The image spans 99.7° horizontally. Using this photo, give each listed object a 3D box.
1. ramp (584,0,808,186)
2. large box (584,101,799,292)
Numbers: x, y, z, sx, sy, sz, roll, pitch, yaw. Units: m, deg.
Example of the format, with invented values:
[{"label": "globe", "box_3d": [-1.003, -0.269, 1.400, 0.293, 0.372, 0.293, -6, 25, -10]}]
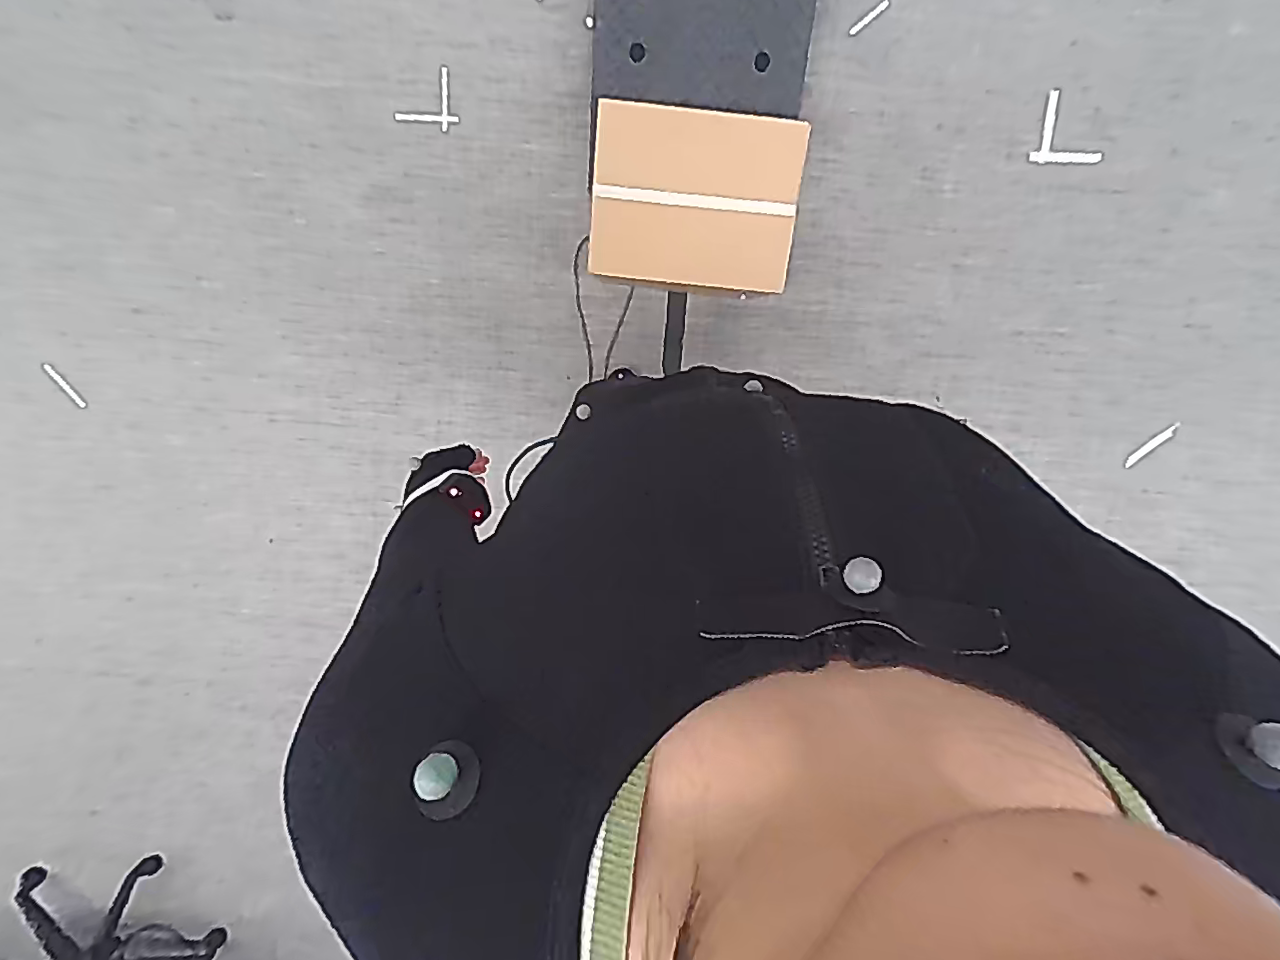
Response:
[{"label": "ramp", "box_3d": [0.139, -1.171, 1.157, 0.509, 0.206, 0.991, 2, 103, -2]}, {"label": "large box", "box_3d": [0.096, -0.601, 1.211, 0.408, 0.320, 0.320, 5, 106, -2]}]
